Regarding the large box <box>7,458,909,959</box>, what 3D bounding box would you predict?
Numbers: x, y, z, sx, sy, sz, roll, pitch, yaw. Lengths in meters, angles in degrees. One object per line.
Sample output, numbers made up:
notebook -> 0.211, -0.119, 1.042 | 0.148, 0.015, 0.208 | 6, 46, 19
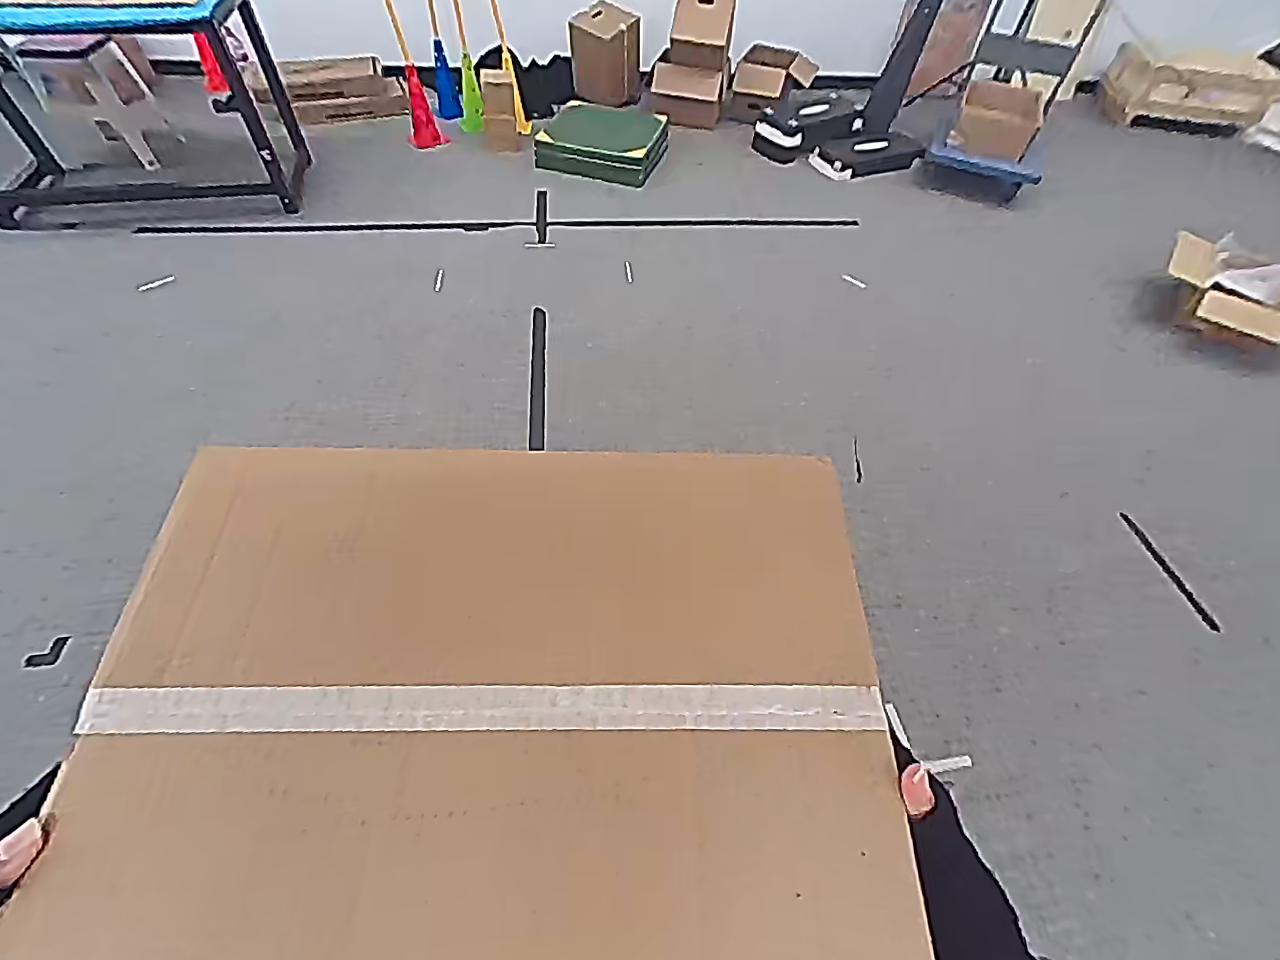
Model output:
large box -> -0.083, 0.192, 0.422 | 0.408, 0.320, 0.320 | 1, 62, -2
